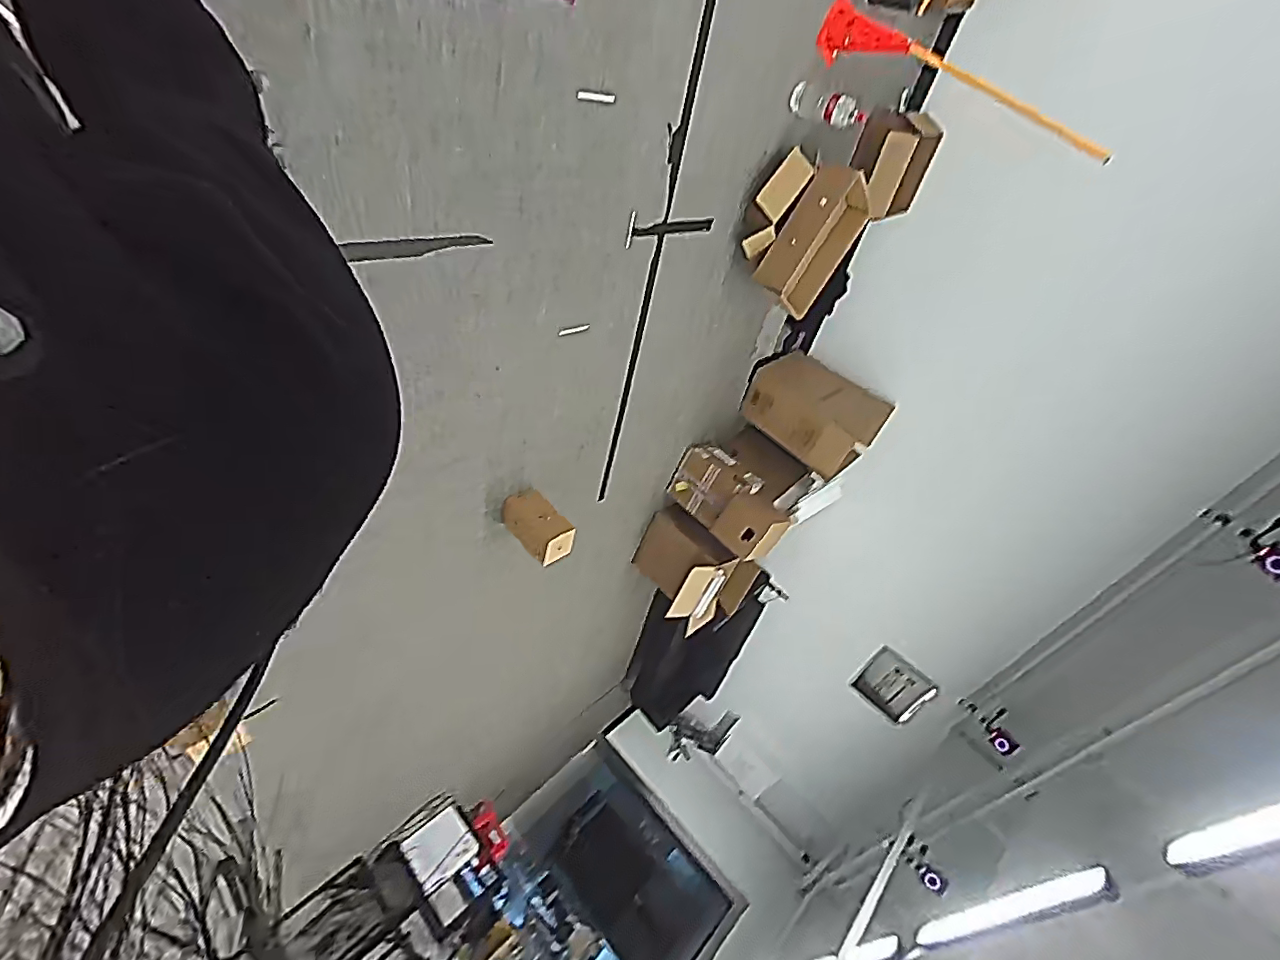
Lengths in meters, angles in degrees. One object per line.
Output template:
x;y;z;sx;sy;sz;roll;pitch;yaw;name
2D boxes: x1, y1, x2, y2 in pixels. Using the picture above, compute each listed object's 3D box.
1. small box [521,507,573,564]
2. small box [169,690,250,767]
-0.447;0.261;2.567;0.168;0.176;0.179;-26;145;-43;small box
-1.574;0.900;1.978;0.168;0.176;0.179;-29;149;-36;small box
